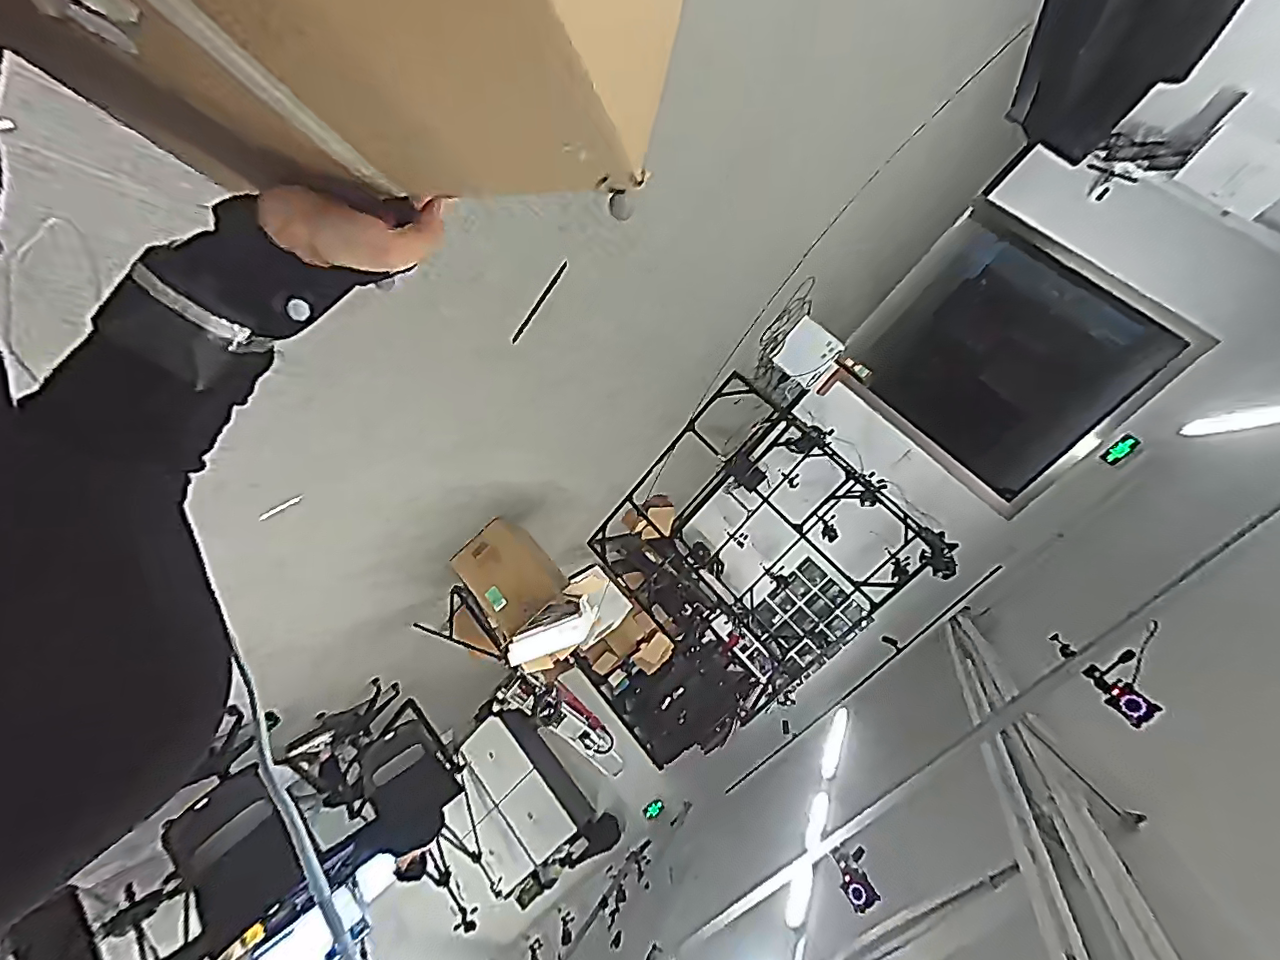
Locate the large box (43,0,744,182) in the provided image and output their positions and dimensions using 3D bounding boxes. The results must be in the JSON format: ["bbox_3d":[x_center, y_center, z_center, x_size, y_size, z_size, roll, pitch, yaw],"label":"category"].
[{"bbox_3d":[-0.141,-0.360,0.146,0.408,0.320,0.320,26,77,-67],"label":"large box"}]
